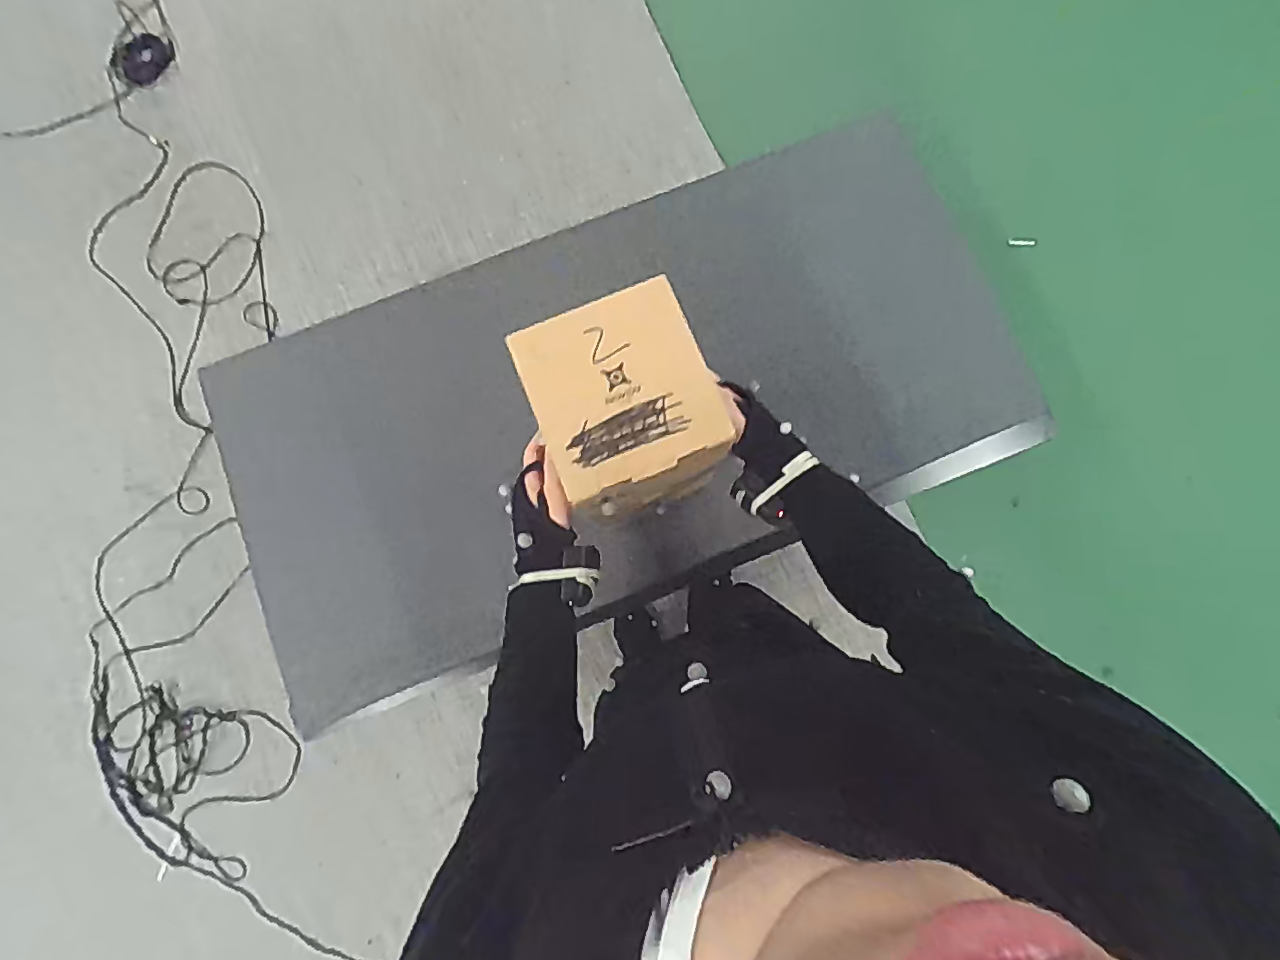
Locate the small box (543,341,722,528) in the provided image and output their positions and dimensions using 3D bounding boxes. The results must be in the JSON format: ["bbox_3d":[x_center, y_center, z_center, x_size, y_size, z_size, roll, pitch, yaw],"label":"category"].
[{"bbox_3d":[-0.010,-0.049,0.725,0.168,0.176,0.179,-26,80,-2],"label":"small box"}]
